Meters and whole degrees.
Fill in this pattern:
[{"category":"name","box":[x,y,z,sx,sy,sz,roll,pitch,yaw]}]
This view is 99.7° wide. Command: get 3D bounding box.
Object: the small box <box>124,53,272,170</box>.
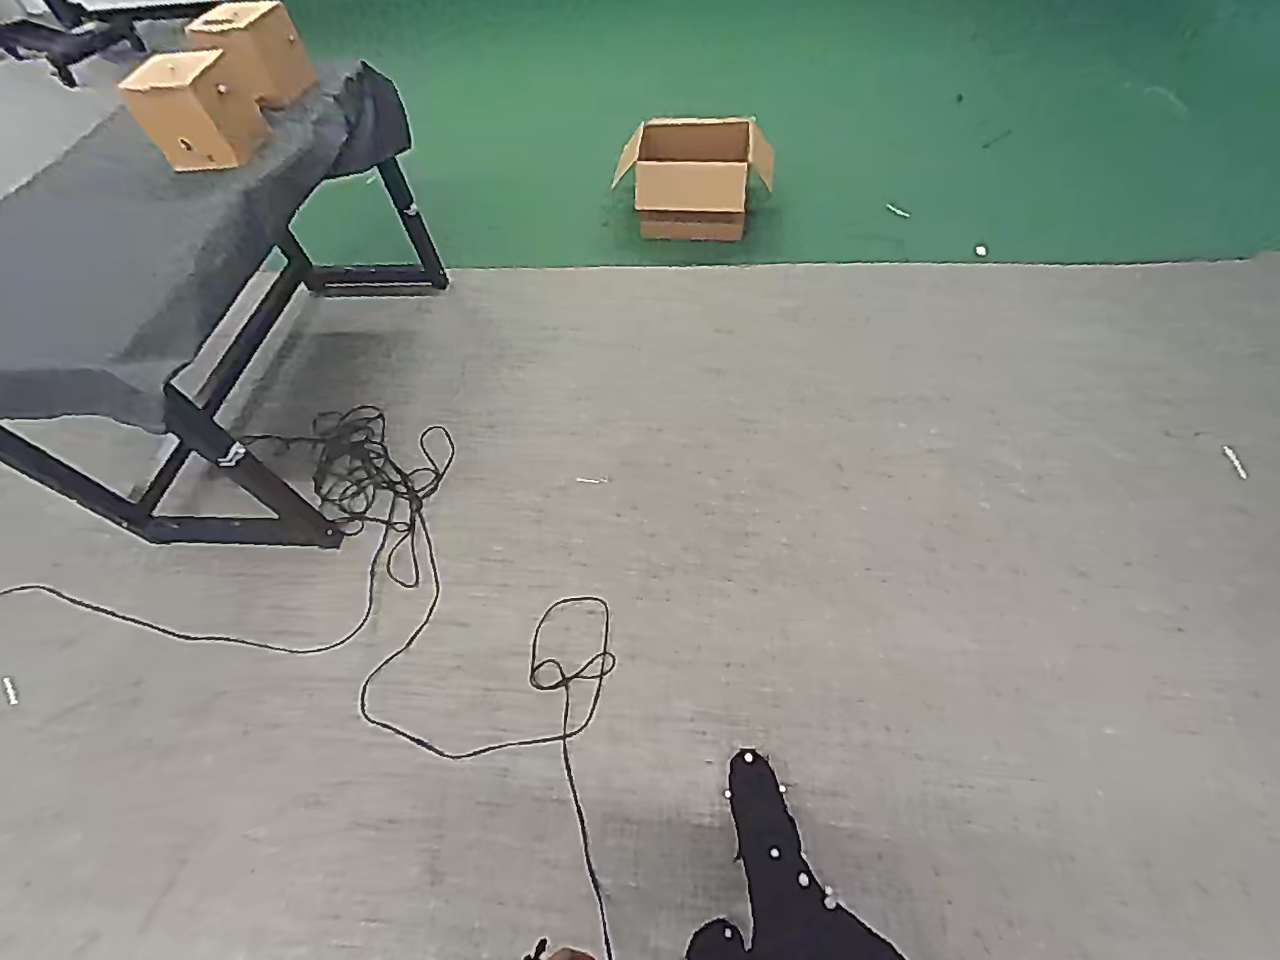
[{"category":"small box","box":[-0.984,-0.832,1.227,0.168,0.176,0.179,-1,58,4]}]
